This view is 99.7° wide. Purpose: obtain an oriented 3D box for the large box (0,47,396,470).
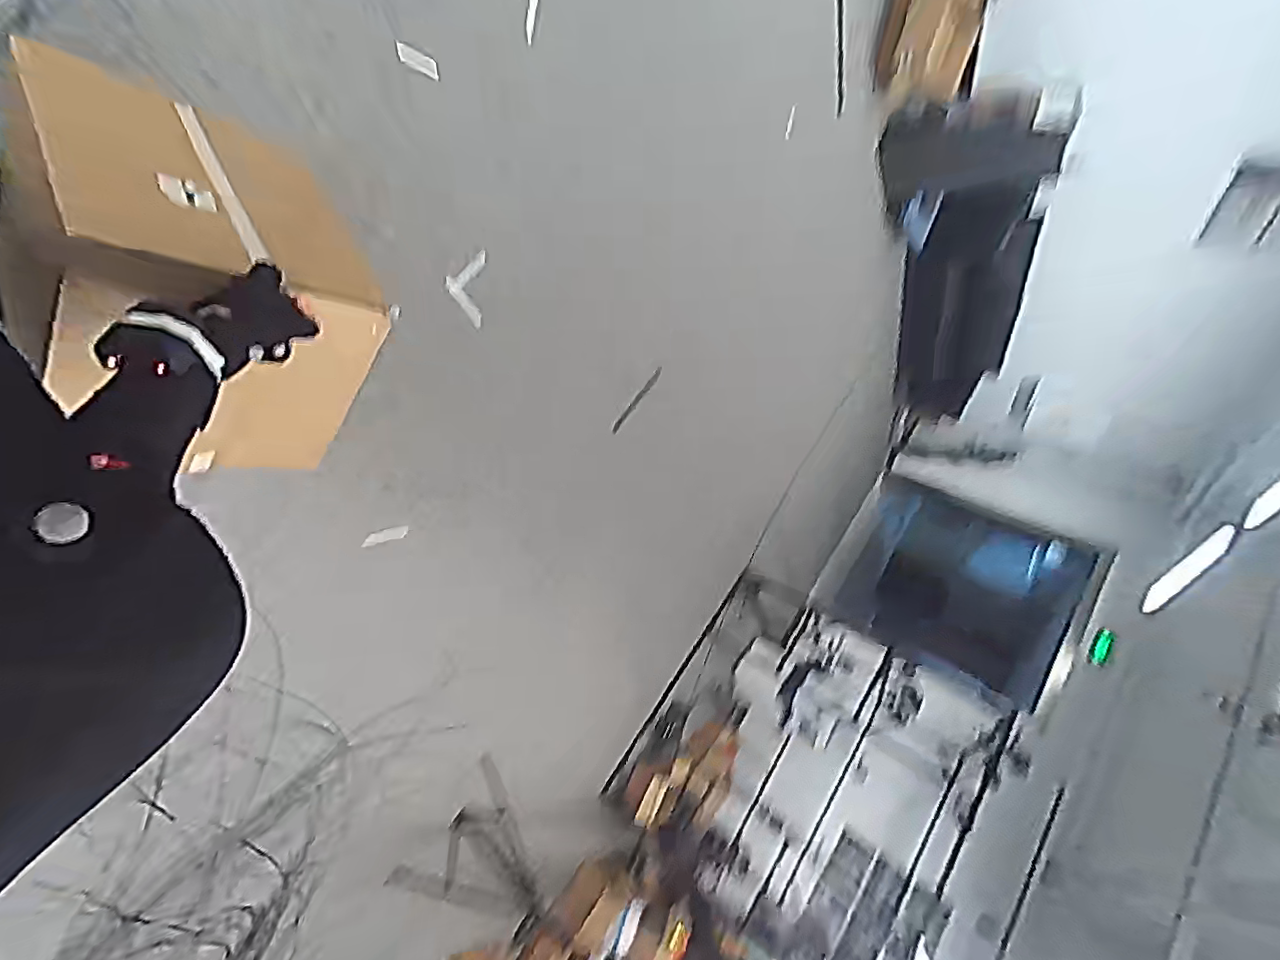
[{"bbox_3d":[-0.620,-0.263,0.748,0.320,0.408,0.320,-48,157,27],"label":"large box"}]
